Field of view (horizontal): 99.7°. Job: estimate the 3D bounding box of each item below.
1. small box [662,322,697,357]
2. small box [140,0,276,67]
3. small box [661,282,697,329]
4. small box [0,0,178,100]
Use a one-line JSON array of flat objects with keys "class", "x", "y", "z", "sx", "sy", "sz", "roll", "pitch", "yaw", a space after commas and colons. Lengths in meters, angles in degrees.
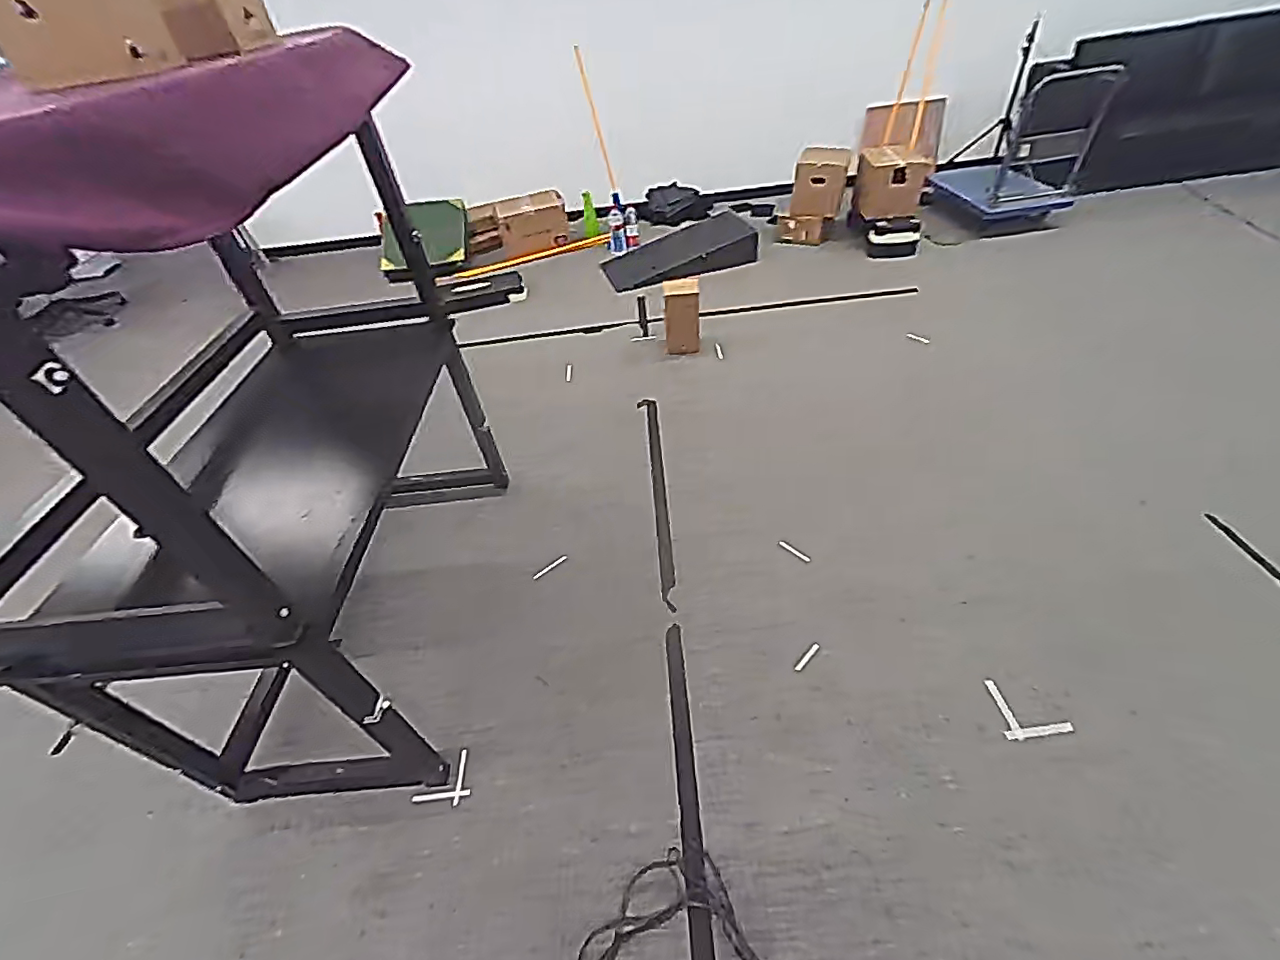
[{"class": "small box", "x": 0.209, "y": -0.772, "z": 2.873, "sx": 0.179, "sy": 0.176, "sz": 0.168, "roll": -4, "pitch": 43, "yaw": 2}, {"class": "small box", "x": -0.889, "y": -0.947, "z": 1.082, "sx": 0.179, "sy": 0.176, "sz": 0.168, "roll": -4, "pitch": 44, "yaw": 5}, {"class": "small box", "x": 0.200, "y": -0.889, "z": 2.759, "sx": 0.179, "sy": 0.176, "sz": 0.168, "roll": -3, "pitch": 43, "yaw": 5}, {"class": "small box", "x": -0.890, "y": -0.717, "z": 0.842, "sx": 0.179, "sy": 0.176, "sz": 0.168, "roll": -10, "pitch": 43, "yaw": -1}]
